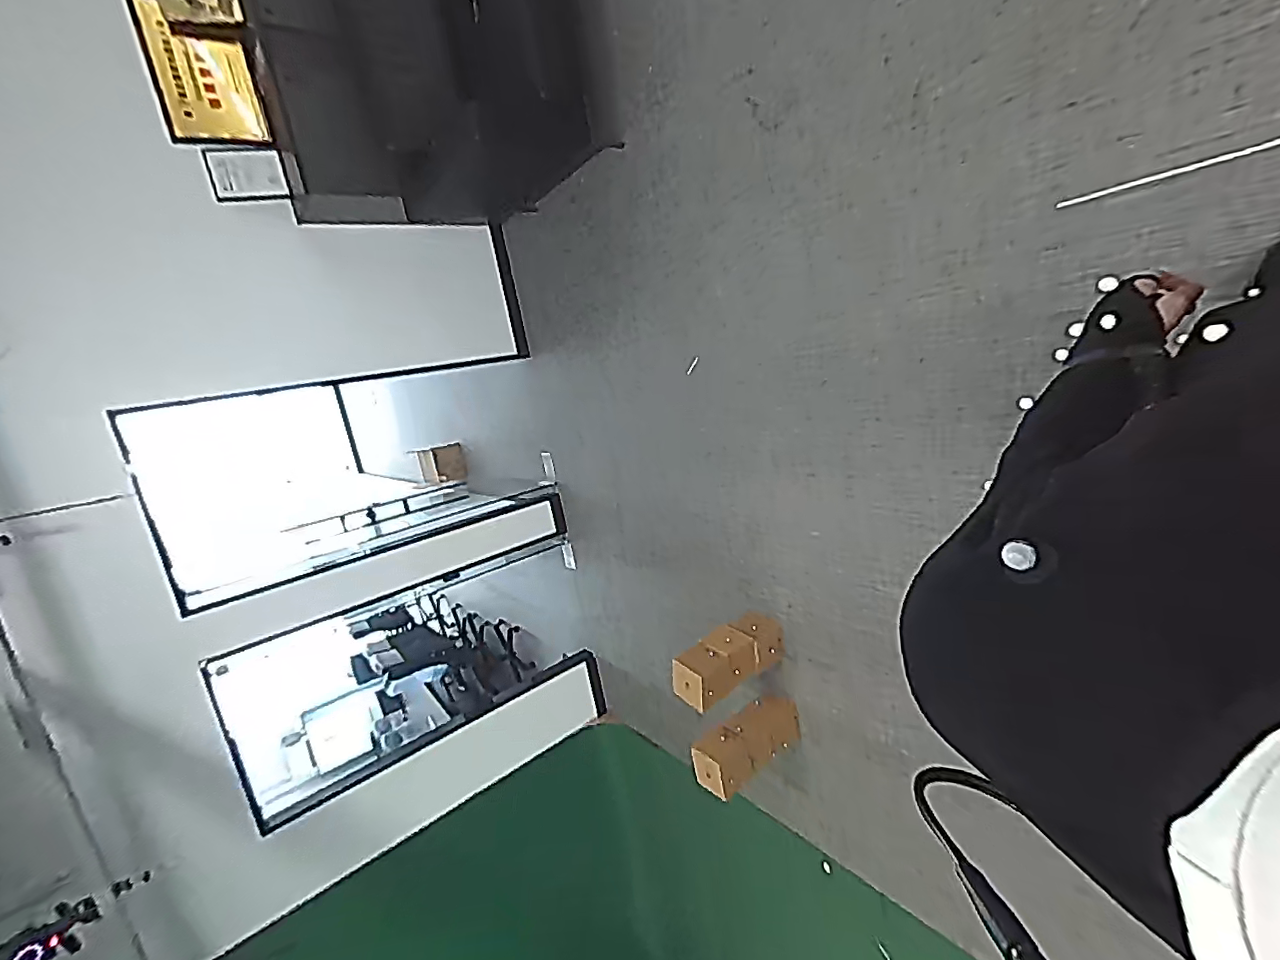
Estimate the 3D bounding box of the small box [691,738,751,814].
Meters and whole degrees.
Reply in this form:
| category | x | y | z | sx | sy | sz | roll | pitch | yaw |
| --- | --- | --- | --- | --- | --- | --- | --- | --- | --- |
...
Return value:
| category | x | y | z | sx | sy | sz | roll | pitch | yaw |
| --- | --- | --- | --- | --- | --- | --- | --- | --- | --- |
| small box | 0.335 | 1.196 | 2.197 | 0.168 | 0.176 | 0.179 | 2 | 105 | 53 |

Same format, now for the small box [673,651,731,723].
| category | x | y | z | sx | sy | sz | roll | pitch | yaw |
| --- | --- | --- | --- | --- | --- | --- | --- | --- | --- |
| small box | 0.249 | 0.823 | 2.163 | 0.168 | 0.176 | 0.179 | 18 | 118 | 48 |

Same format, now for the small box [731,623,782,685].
| category | x | y | z | sx | sy | sz | roll | pitch | yaw |
| --- | --- | --- | --- | --- | --- | --- | --- | --- | --- |
| small box | 0.501 | 0.750 | 2.355 | 0.179 | 0.176 | 0.168 | 14 | 114 | 49 |

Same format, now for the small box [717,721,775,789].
| category | x | y | z | sx | sy | sz | roll | pitch | yaw |
| --- | --- | --- | --- | --- | --- | --- | --- | --- | --- |
| small box | 0.457 | 1.163 | 2.302 | 0.179 | 0.176 | 0.168 | 1 | 104 | 54 |

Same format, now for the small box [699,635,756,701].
| category | x | y | z | sx | sy | sz | roll | pitch | yaw |
| --- | --- | --- | --- | --- | --- | --- | --- | --- | --- |
| small box | 0.369 | 0.778 | 2.264 | 0.168 | 0.176 | 0.179 | 13 | 115 | 51 |
